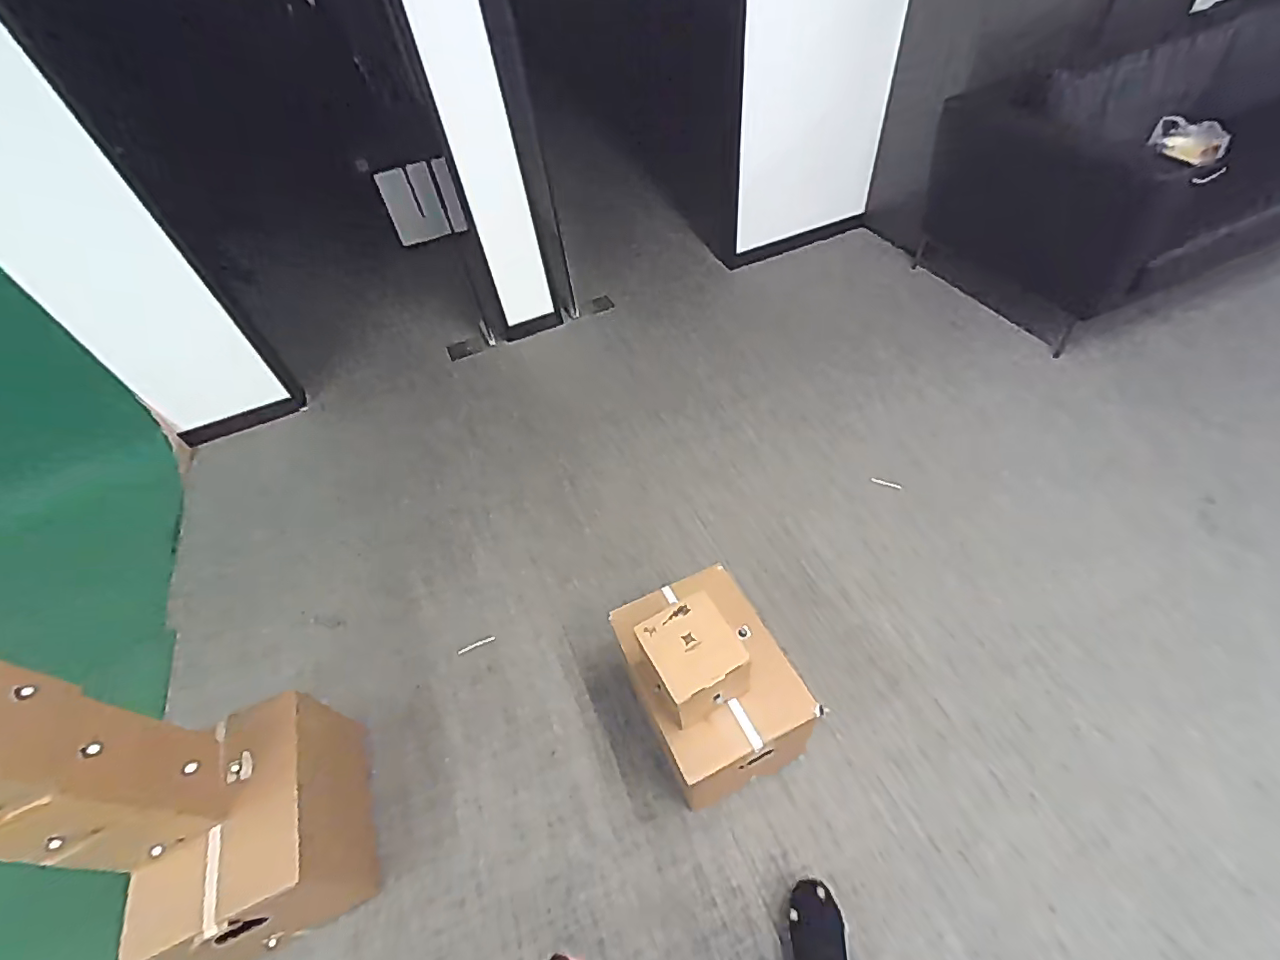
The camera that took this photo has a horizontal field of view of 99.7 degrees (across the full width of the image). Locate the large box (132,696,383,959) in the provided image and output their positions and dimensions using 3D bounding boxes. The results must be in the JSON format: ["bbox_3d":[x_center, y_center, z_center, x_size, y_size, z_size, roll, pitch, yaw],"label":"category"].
[{"bbox_3d":[-0.817,0.779,1.203,0.320,0.320,0.408,-23,50,-11],"label":"large box"}]

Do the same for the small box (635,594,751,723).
[{"bbox_3d":[0.111,0.371,1.101,0.168,0.176,0.179,-27,52,-12],"label":"small box"}]

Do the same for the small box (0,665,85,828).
[{"bbox_3d":[-0.986,0.406,0.792,0.168,0.176,0.179,-24,52,-8],"label":"small box"}]

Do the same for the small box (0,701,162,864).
[{"bbox_3d":[-0.963,0.513,0.913,0.168,0.176,0.179,-25,52,-9],"label":"small box"}]
